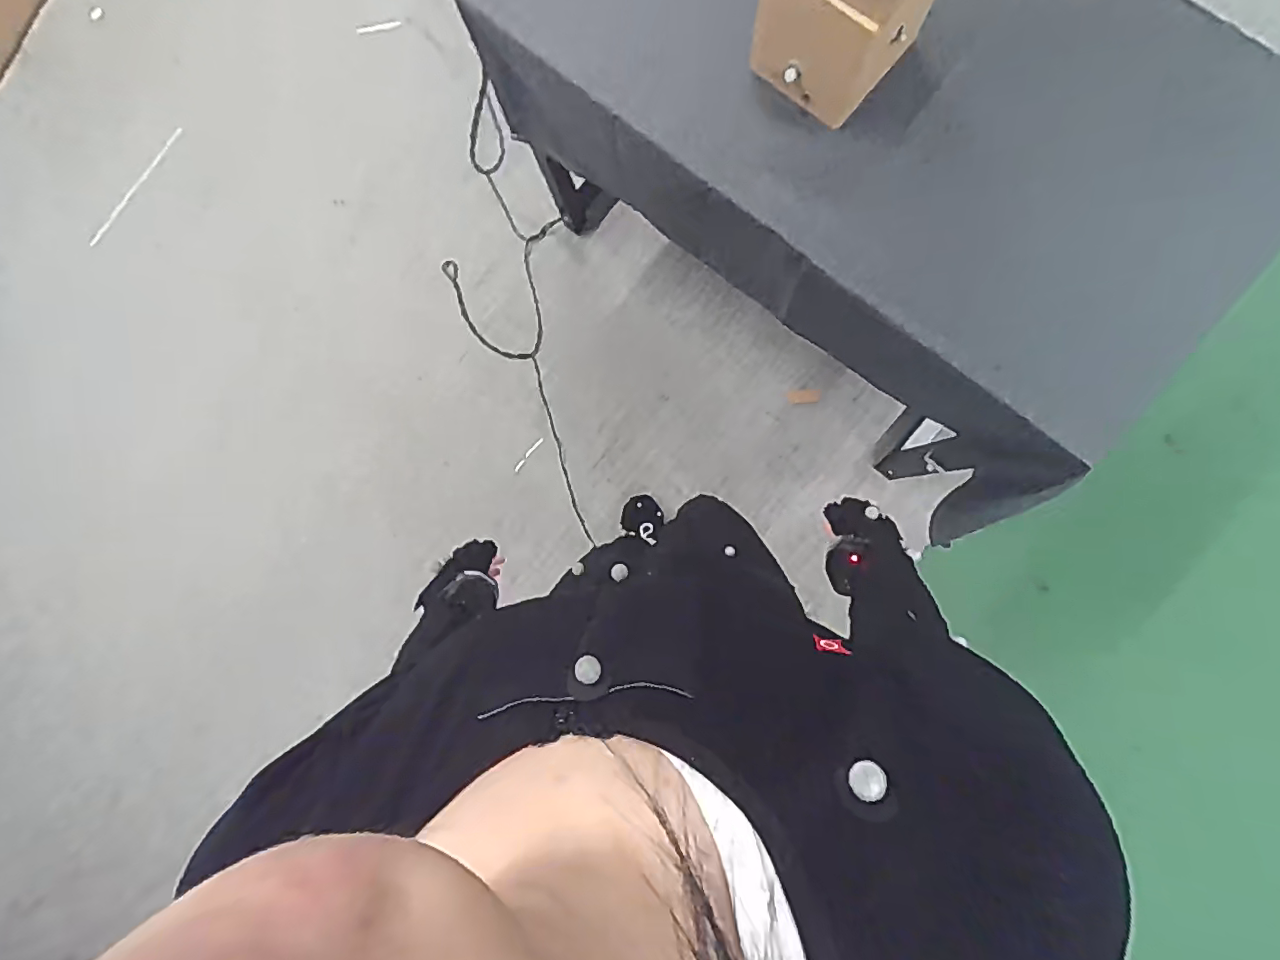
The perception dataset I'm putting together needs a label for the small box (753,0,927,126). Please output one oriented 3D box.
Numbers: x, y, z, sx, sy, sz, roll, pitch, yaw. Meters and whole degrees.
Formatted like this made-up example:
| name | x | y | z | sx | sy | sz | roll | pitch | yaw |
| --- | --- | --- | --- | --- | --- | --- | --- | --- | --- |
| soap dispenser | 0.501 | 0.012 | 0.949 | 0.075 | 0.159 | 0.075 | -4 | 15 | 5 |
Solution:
| name | x | y | z | sx | sy | sz | roll | pitch | yaw |
| --- | --- | --- | --- | --- | --- | --- | --- | --- | --- |
| small box | 0.267 | -0.628 | 0.710 | 0.168 | 0.176 | 0.179 | 40 | 91 | 6 |
